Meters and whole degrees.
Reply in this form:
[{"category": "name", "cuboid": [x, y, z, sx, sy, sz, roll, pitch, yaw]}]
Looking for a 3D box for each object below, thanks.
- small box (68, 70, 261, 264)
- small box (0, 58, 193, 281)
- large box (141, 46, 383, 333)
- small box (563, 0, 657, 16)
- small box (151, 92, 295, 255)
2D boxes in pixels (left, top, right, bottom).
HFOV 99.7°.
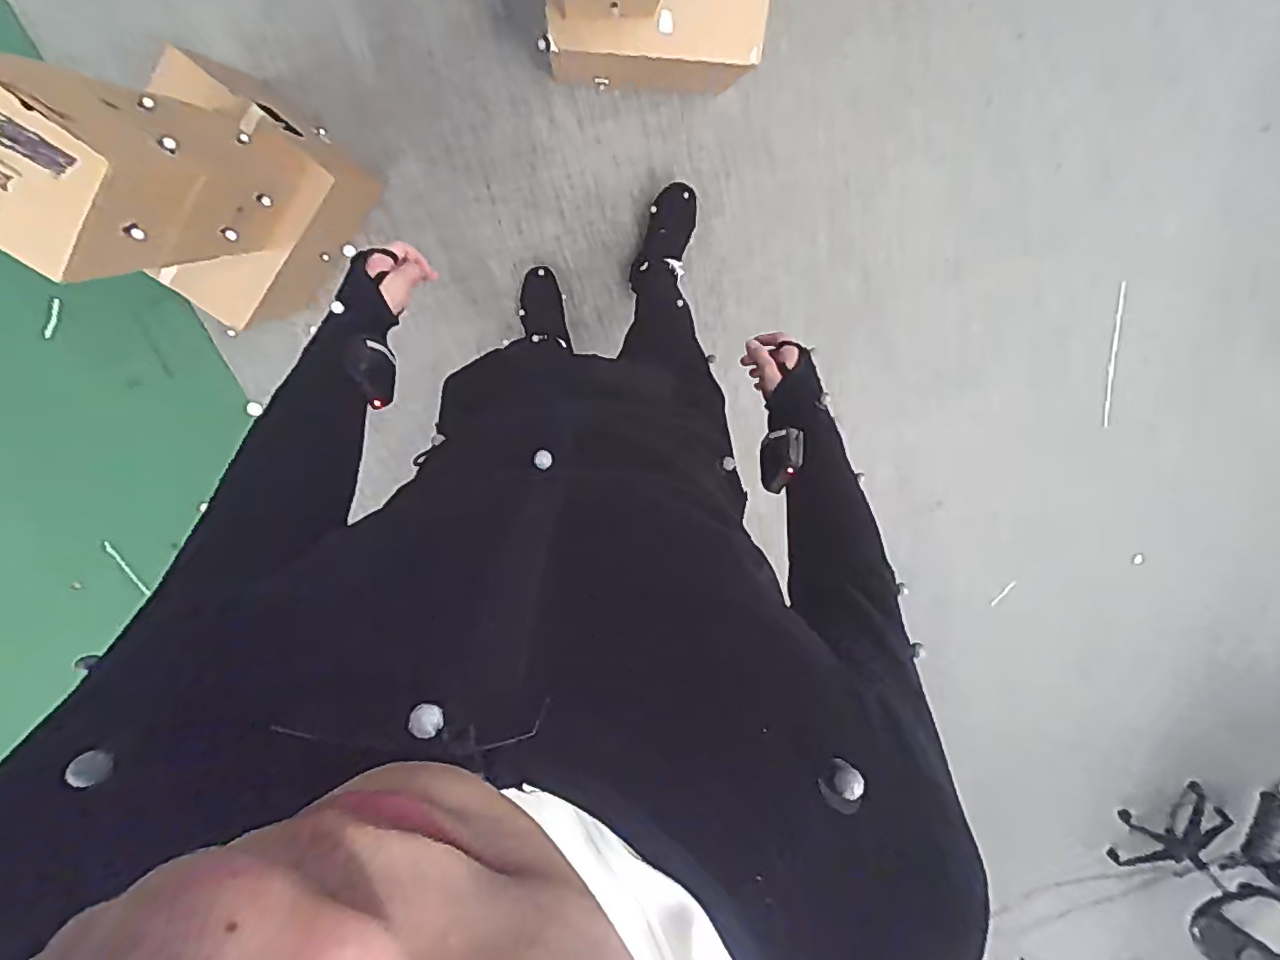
[{"category": "small box", "cuboid": [-0.728, -0.453, 0.809, 0.179, 0.176, 0.168, 39, 107, -22]}, {"category": "small box", "cuboid": [-0.707, -0.379, 0.664, 0.168, 0.176, 0.179, 37, 109, -21]}, {"category": "large box", "cuboid": [-0.844, -0.604, 1.179, 0.320, 0.320, 0.408, 38, 108, -20]}, {"category": "small box", "cuboid": [-0.051, -0.867, 0.857, 0.168, 0.176, 0.179, -7, 118, -3]}, {"category": "small box", "cuboid": [-0.750, -0.528, 0.951, 0.168, 0.176, 0.179, 37, 107, -21]}]
